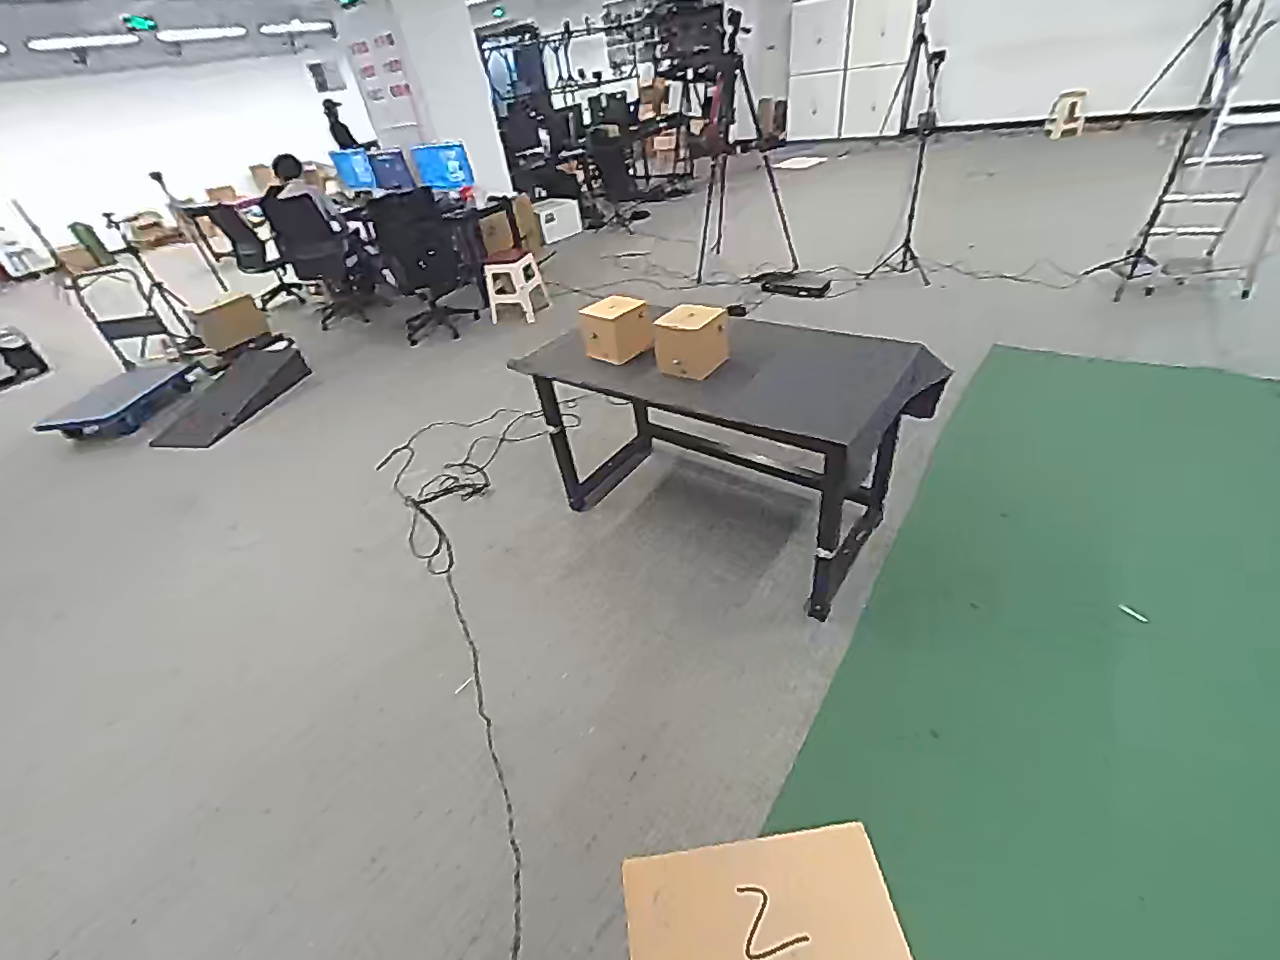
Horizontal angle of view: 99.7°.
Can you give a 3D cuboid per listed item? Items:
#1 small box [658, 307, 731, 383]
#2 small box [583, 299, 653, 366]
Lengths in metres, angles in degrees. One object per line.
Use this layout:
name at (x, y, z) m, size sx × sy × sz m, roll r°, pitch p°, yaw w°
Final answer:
small box at (0.175, -0.432, 1.720) m, size 0.168 × 0.176 × 0.179 m, roll 19°, pitch 45°, yaw 33°
small box at (-0.070, -0.512, 1.877) m, size 0.168 × 0.176 × 0.179 m, roll 24°, pitch 47°, yaw 36°
